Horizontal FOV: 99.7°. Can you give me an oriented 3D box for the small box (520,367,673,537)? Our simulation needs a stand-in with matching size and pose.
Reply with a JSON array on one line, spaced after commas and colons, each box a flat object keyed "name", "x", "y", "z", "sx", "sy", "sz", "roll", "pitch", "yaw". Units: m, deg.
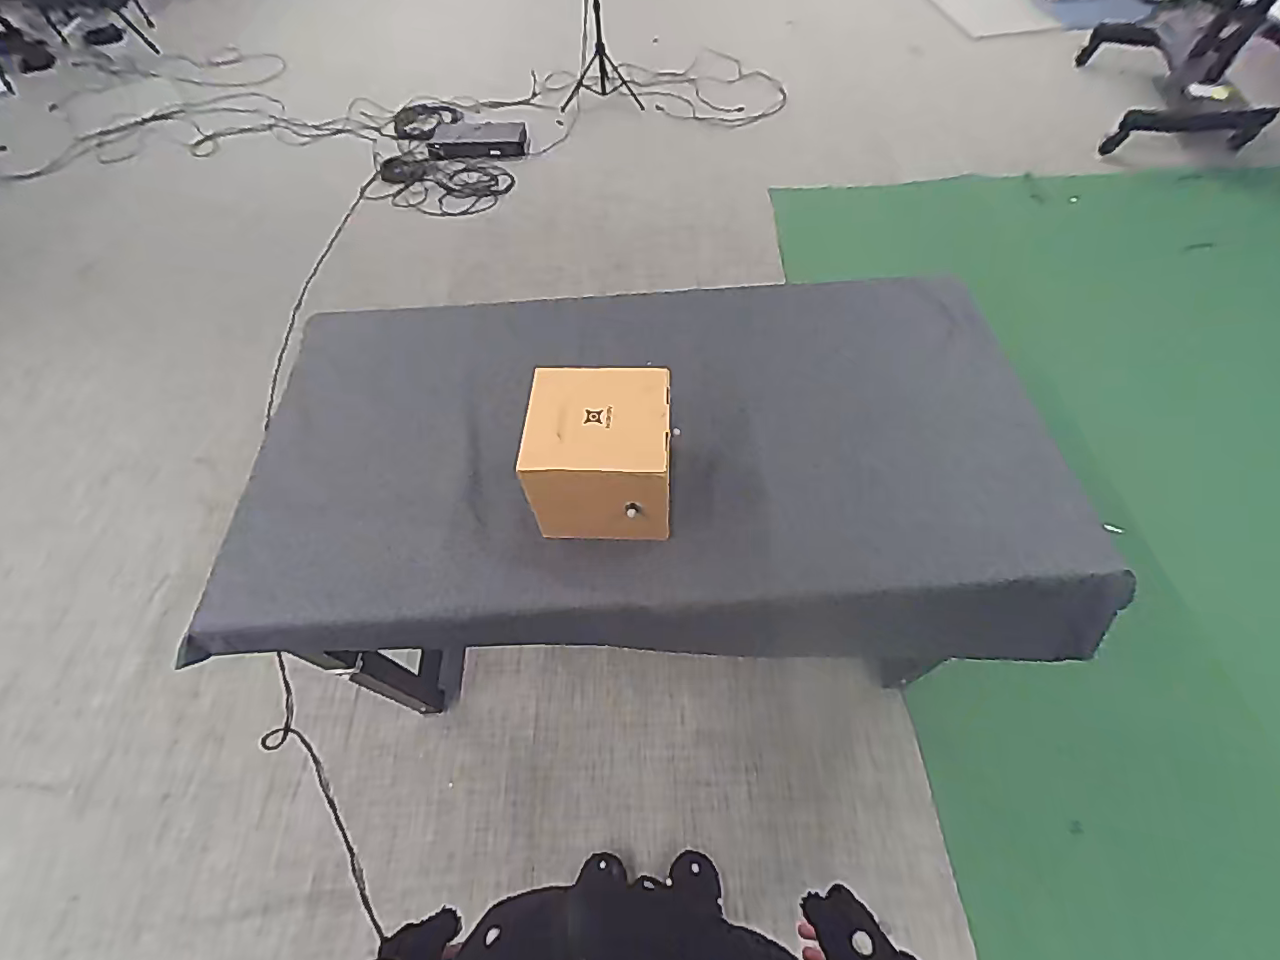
[{"name": "small box", "x": -0.045, "y": -0.032, "z": 0.728, "sx": 0.179, "sy": 0.176, "sz": 0.168, "roll": 0, "pitch": 56, "yaw": 4}]
